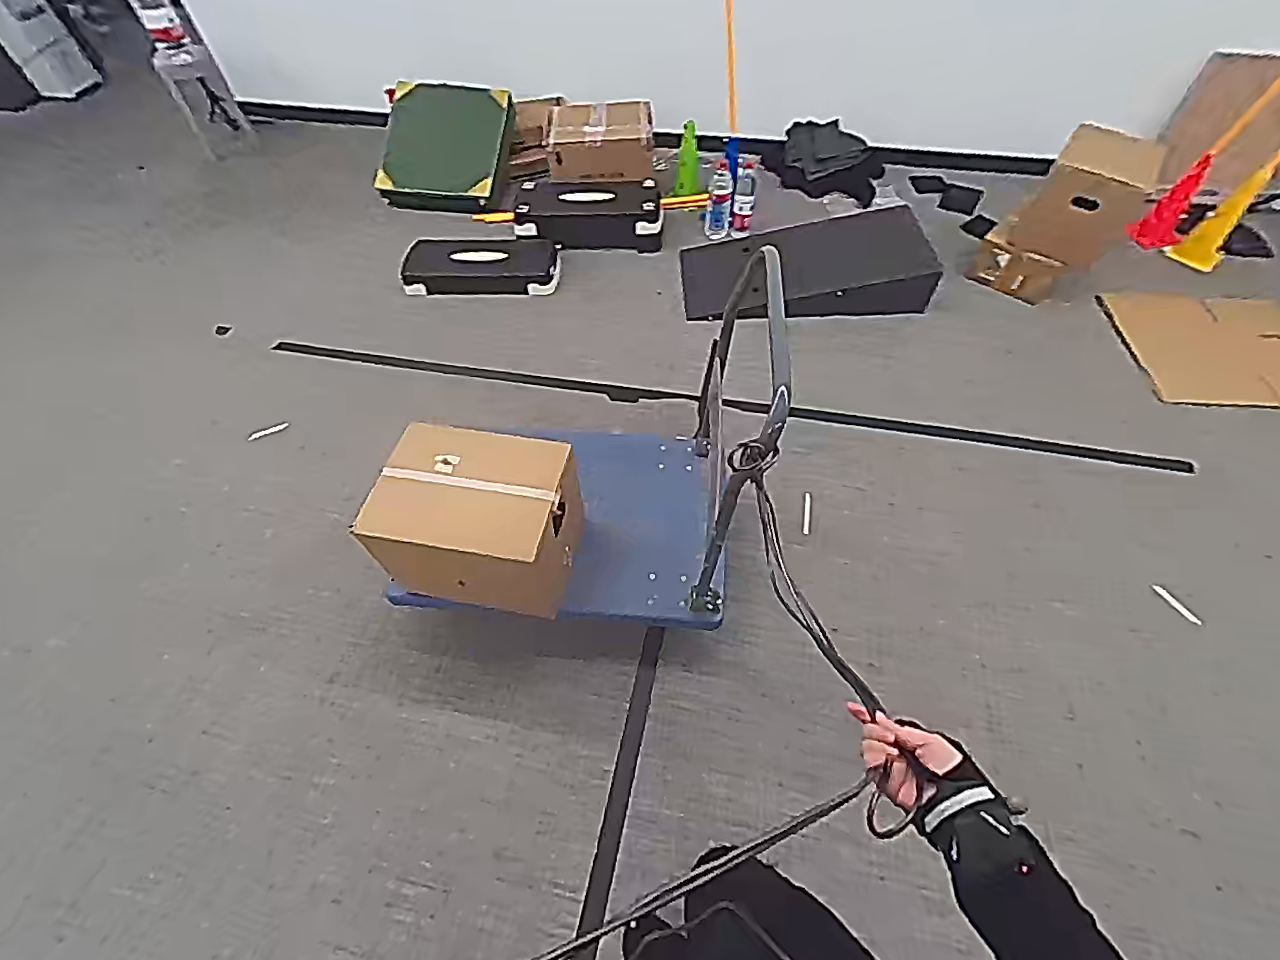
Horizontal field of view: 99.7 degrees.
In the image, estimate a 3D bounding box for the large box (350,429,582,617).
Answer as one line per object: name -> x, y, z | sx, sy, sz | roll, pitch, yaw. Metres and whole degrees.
large box -> -0.378, 0.109, 1.302 | 0.408, 0.320, 0.320 | 8, 54, 7
